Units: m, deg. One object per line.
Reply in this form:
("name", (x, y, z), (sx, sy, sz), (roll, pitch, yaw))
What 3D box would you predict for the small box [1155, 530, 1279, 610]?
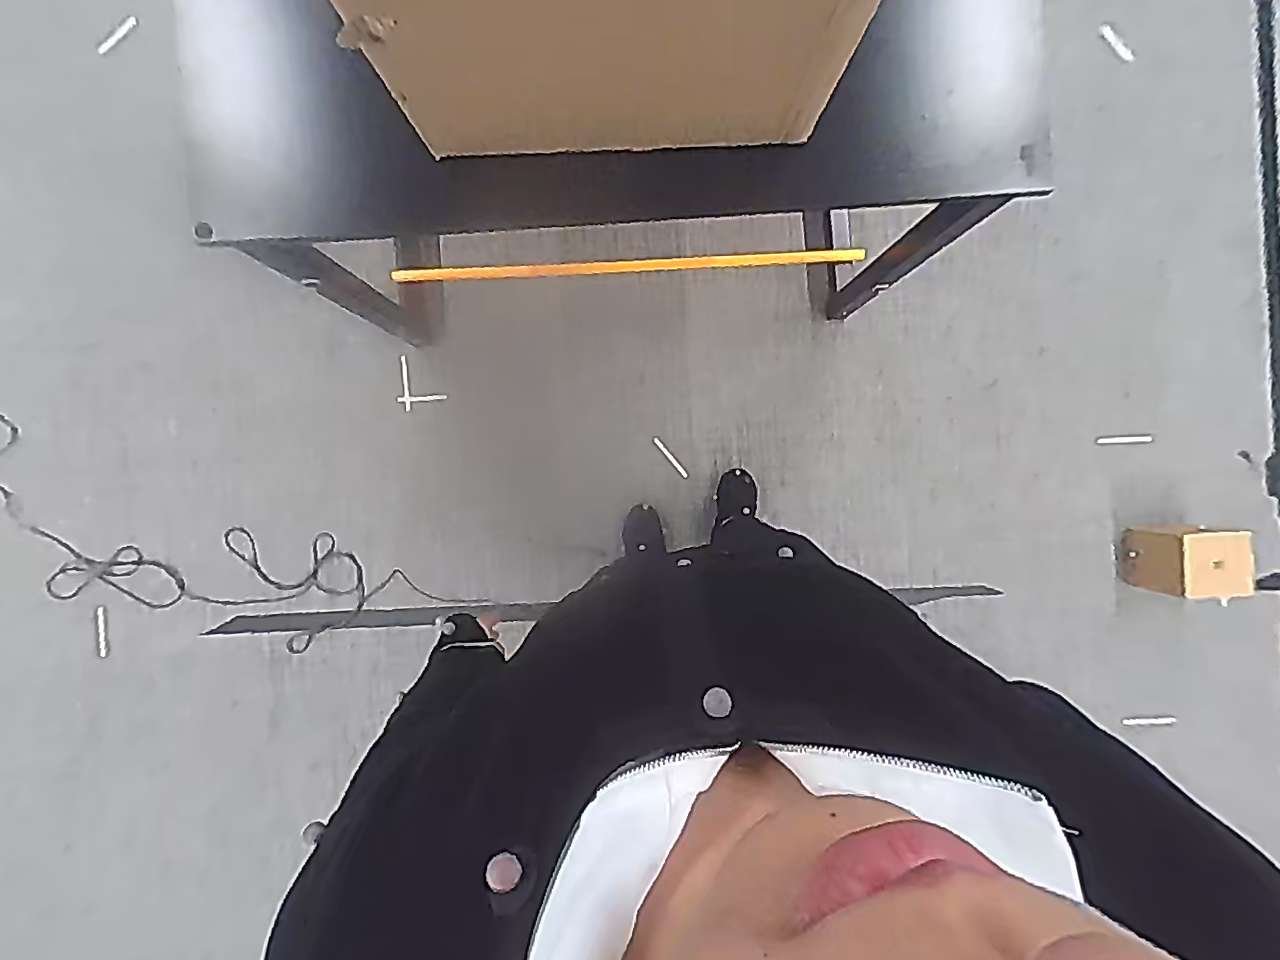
("small box", (1.469, 0.221, 1.368), (0.179, 0.176, 0.168), (-5, 91, 0))
